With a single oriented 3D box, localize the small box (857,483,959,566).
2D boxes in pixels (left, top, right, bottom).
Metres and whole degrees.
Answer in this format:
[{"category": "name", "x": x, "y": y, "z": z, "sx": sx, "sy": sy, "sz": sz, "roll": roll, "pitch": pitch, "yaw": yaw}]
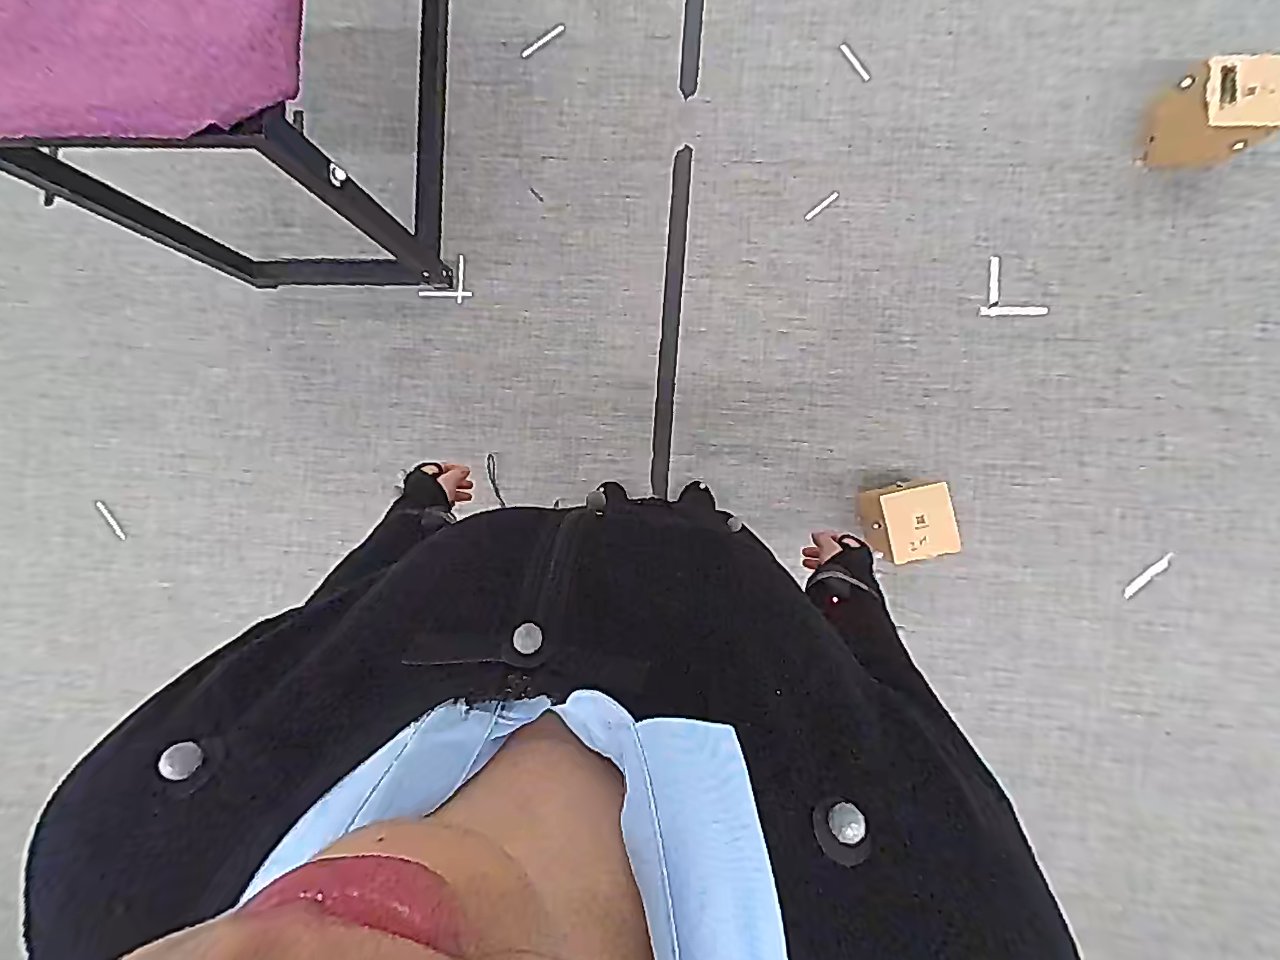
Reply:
[{"category": "small box", "x": 0.678, "y": 0.110, "z": 1.388, "sx": 0.168, "sy": 0.176, "sz": 0.179, "roll": -13, "pitch": 90, "yaw": 2}]
